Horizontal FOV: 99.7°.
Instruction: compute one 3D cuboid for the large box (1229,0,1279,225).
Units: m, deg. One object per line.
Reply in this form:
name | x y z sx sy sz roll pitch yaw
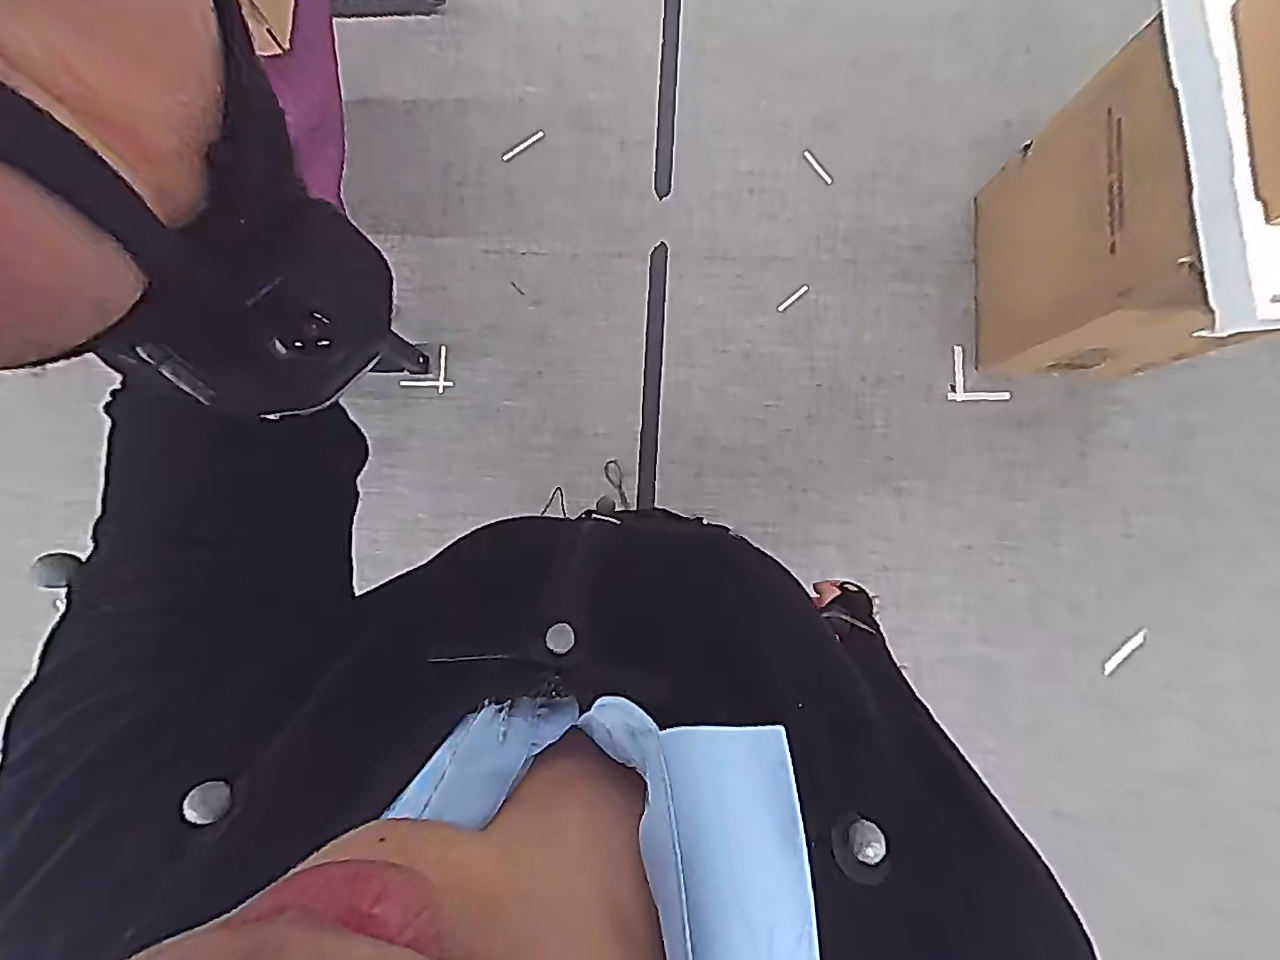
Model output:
large box | 1.130 -0.621 0.728 0.320 0.320 0.408 -2 84 0
